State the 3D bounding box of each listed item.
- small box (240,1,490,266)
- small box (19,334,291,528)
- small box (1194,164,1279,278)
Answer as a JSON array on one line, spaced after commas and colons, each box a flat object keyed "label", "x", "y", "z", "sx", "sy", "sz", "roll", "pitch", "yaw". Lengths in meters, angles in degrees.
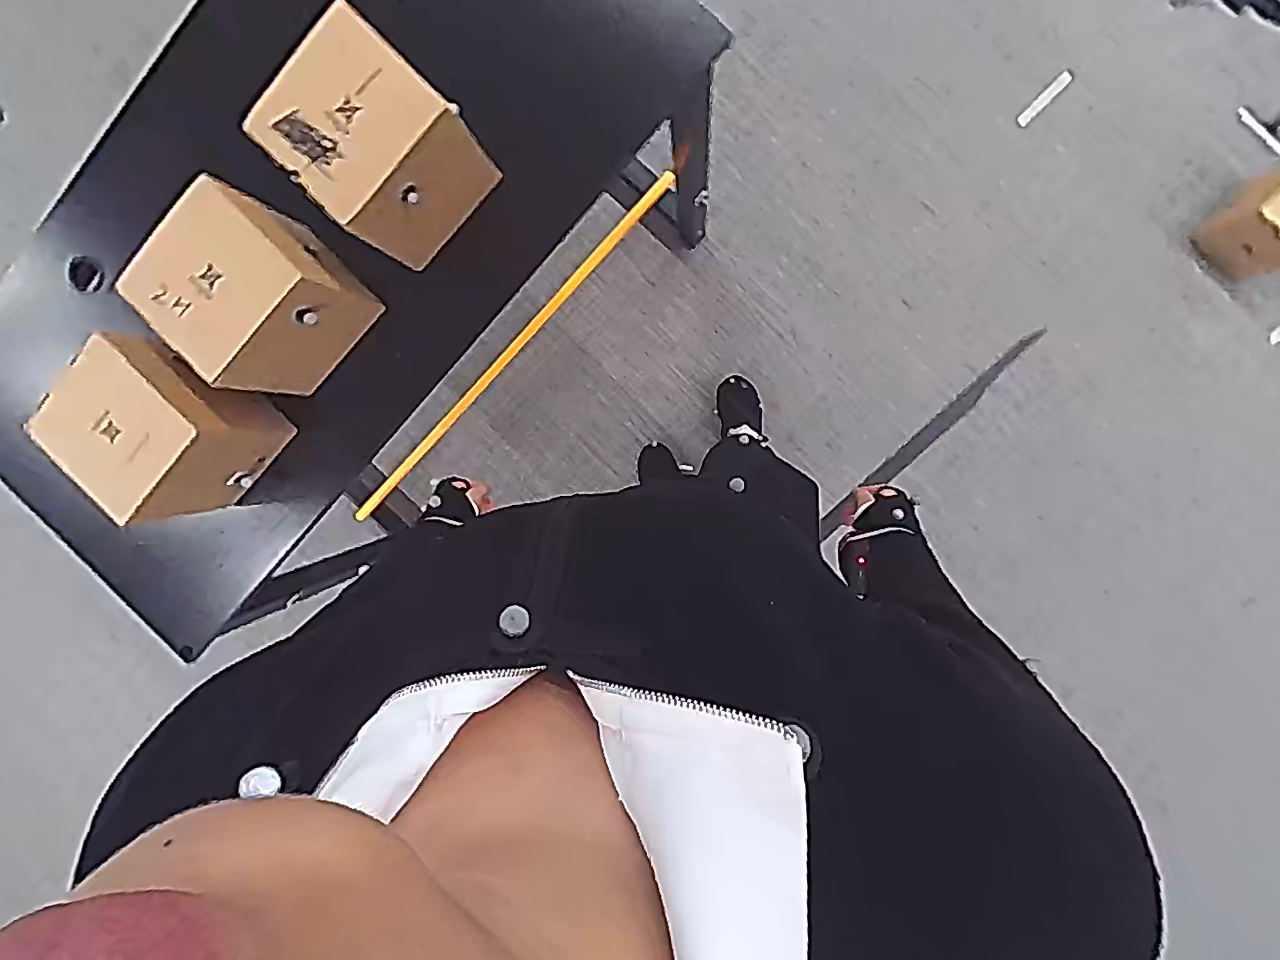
[{"label": "small box", "x": -0.316, "y": -0.396, "z": 0.659, "sx": 0.168, "sy": 0.176, "sz": 0.179, "roll": 45, "pitch": 97, "yaw": 0}, {"label": "small box", "x": -0.628, "y": -0.064, "z": 0.722, "sx": 0.179, "sy": 0.176, "sz": 0.168, "roll": 44, "pitch": 99, "yaw": 0}, {"label": "small box", "x": 1.419, "y": -0.586, "z": 1.211, "sx": 0.168, "sy": 0.176, "sz": 0.179, "roll": 42, "pitch": 98, "yaw": 0}]
